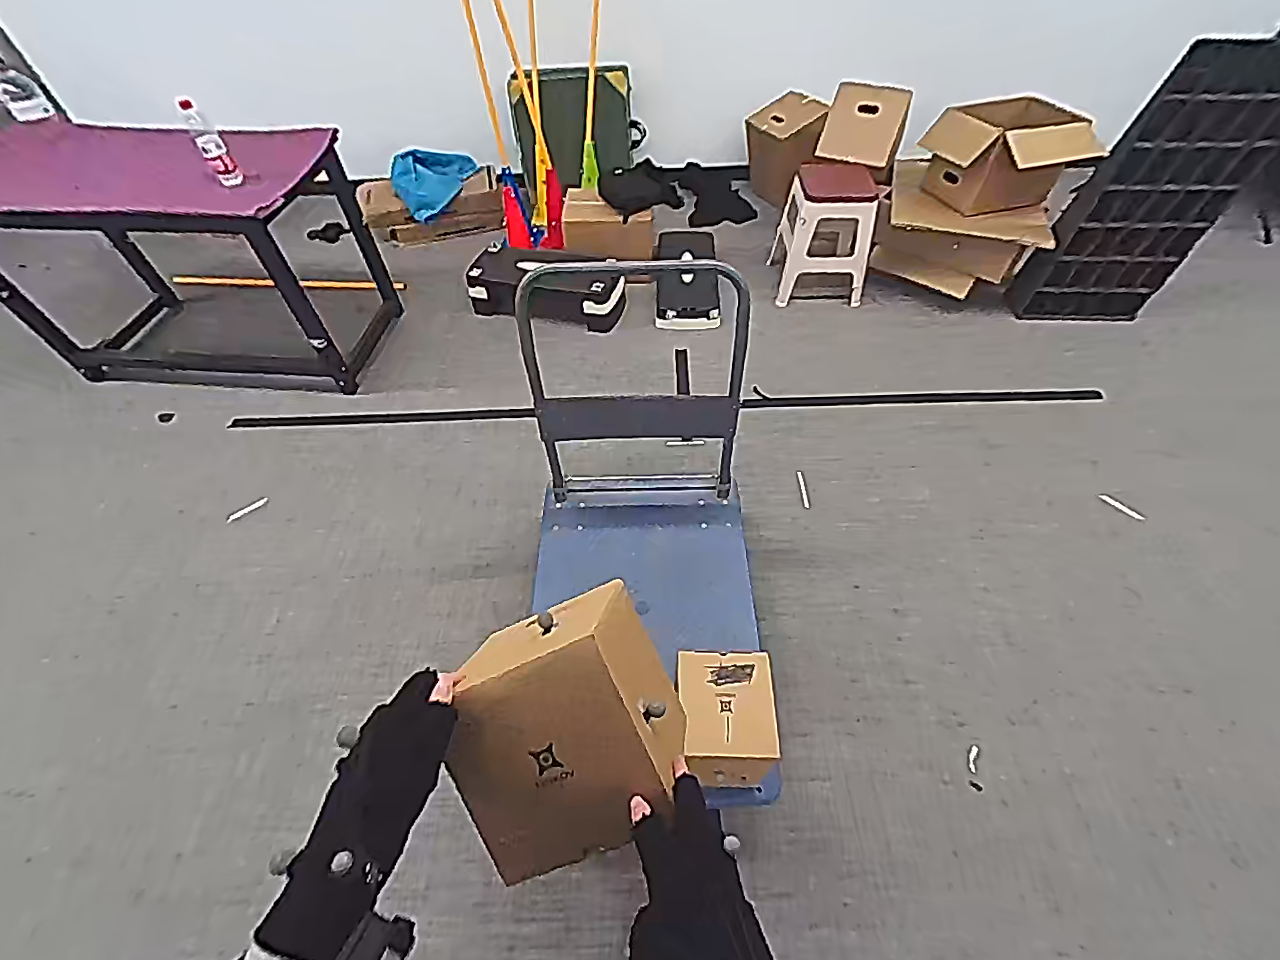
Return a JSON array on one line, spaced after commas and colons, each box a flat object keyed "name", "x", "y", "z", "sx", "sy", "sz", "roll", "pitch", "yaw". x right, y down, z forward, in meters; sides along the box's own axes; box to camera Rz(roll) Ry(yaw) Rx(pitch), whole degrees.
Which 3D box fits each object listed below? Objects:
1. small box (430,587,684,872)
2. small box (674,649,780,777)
[{"name": "small box", "x": -0.066, "y": 0.220, "z": 0.530, "sx": 0.168, "sy": 0.176, "sz": 0.179, "roll": -24, "pitch": 93, "yaw": 7}, {"name": "small box", "x": 0.148, "y": 0.428, "z": 0.988, "sx": 0.168, "sy": 0.176, "sz": 0.179, "roll": 2, "pitch": 53, "yaw": 2}]
